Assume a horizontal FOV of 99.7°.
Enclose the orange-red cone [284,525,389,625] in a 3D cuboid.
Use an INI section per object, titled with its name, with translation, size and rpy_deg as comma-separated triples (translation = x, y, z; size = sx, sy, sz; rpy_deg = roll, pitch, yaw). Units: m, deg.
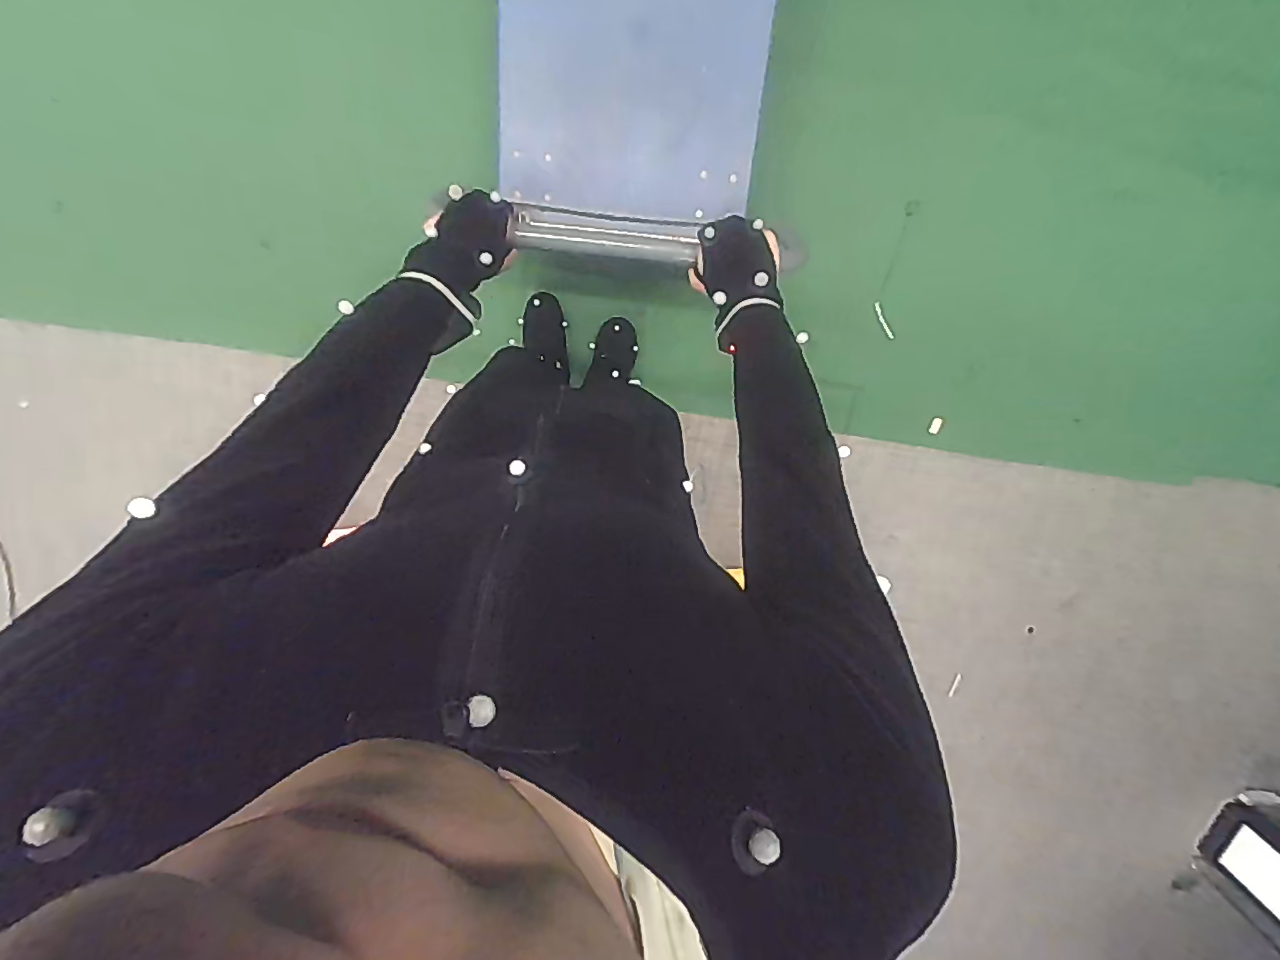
[orange-red cone]
translation = -0.903, 0.296, 1.552
size = 0.199, 0.360, 0.198
rpy_deg = -6, 110, 1
